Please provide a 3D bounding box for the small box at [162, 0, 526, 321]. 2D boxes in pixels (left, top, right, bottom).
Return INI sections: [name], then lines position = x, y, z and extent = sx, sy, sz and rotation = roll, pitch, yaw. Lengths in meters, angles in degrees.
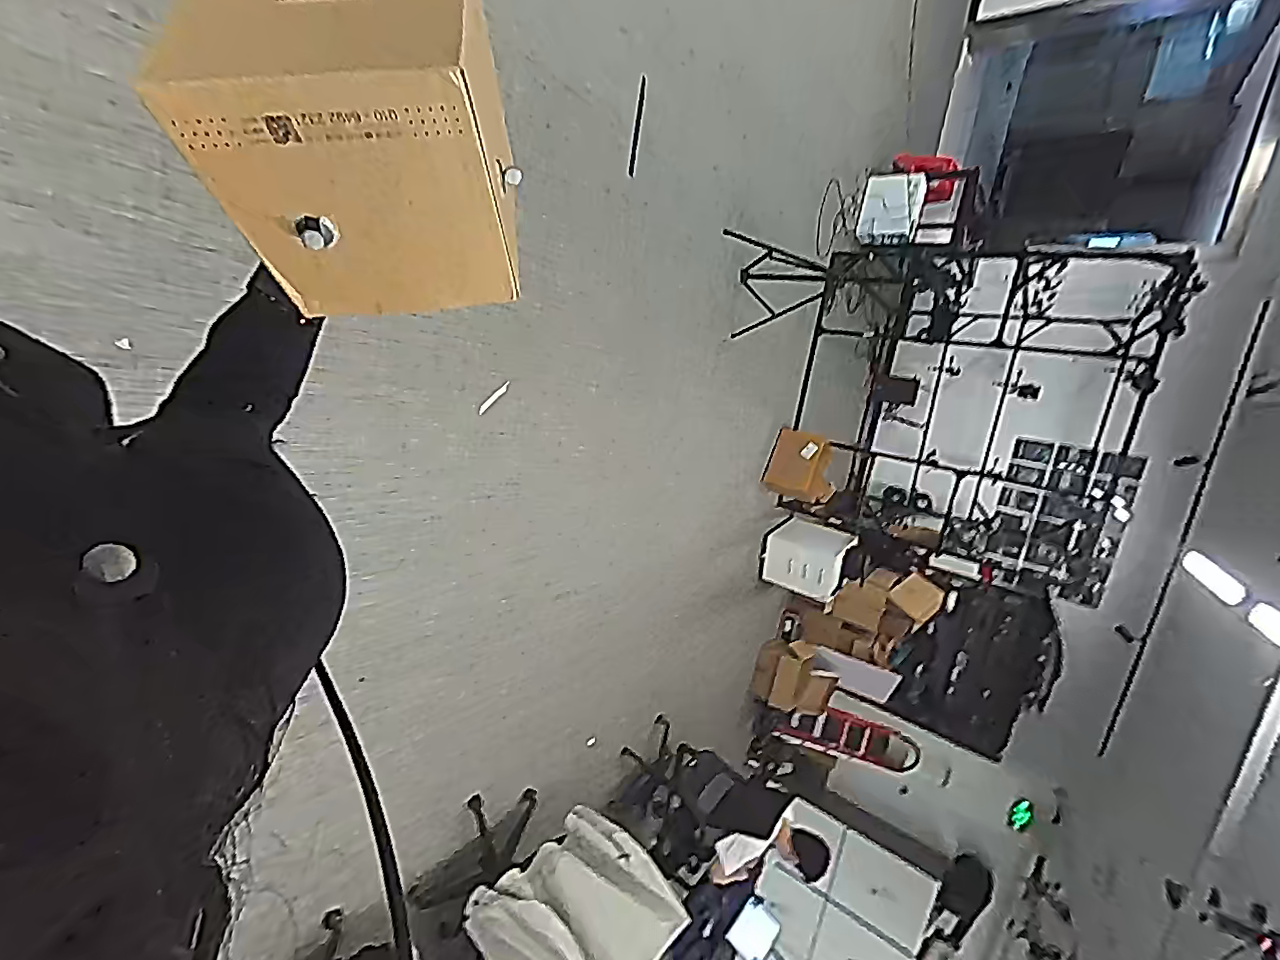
[small box]
position = -0.176, -0.239, 0.378
extent = 0.176, 0.168, 0.179
rotation = 97, -12, -63
